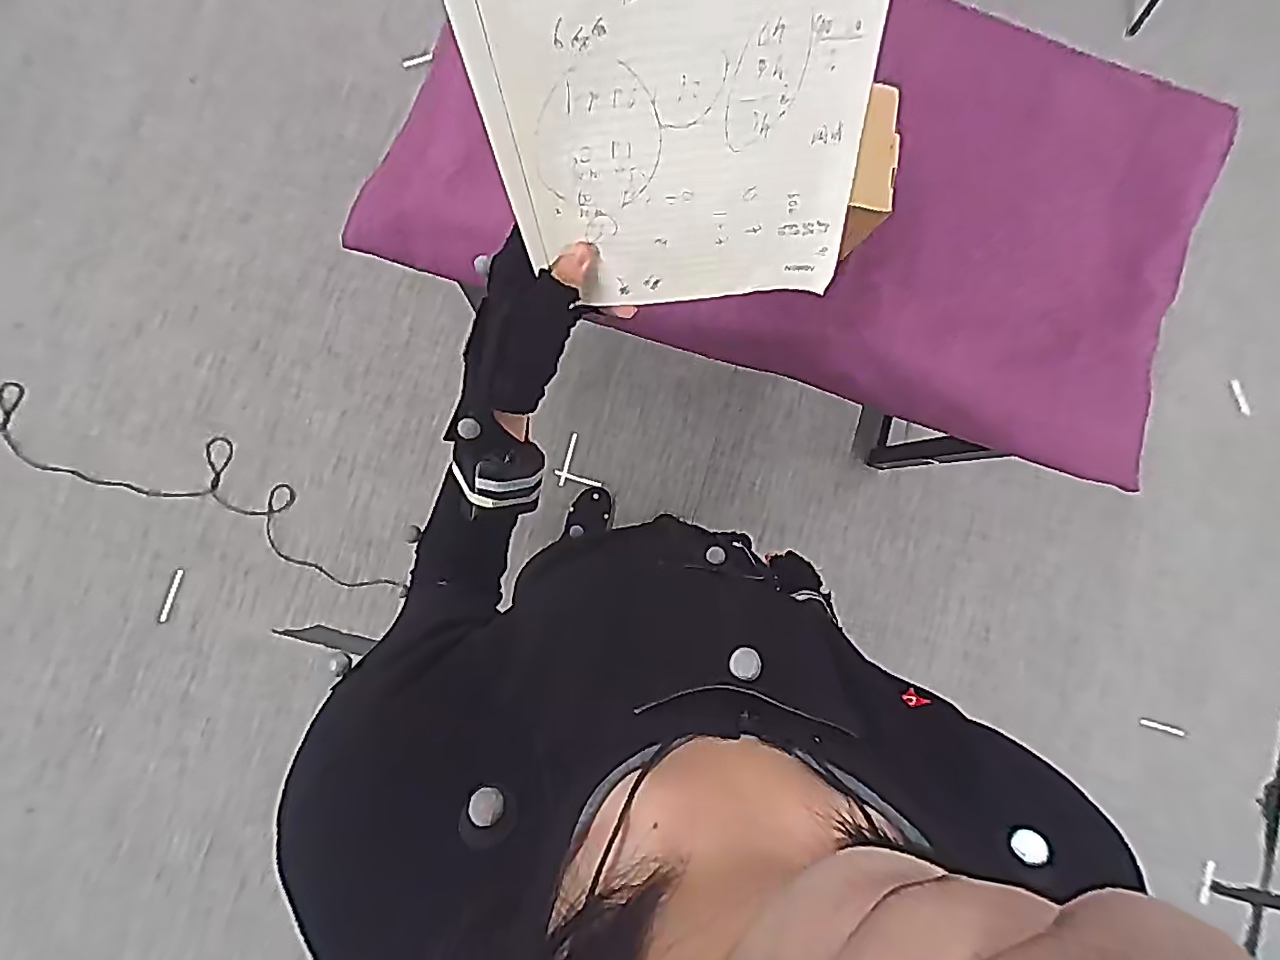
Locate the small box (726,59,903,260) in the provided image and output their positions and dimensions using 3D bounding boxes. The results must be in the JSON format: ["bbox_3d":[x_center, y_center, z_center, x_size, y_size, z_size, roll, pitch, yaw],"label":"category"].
[{"bbox_3d":[0.232,-0.427,0.752,0.179,0.176,0.168,5,87,-6],"label":"small box"}]
